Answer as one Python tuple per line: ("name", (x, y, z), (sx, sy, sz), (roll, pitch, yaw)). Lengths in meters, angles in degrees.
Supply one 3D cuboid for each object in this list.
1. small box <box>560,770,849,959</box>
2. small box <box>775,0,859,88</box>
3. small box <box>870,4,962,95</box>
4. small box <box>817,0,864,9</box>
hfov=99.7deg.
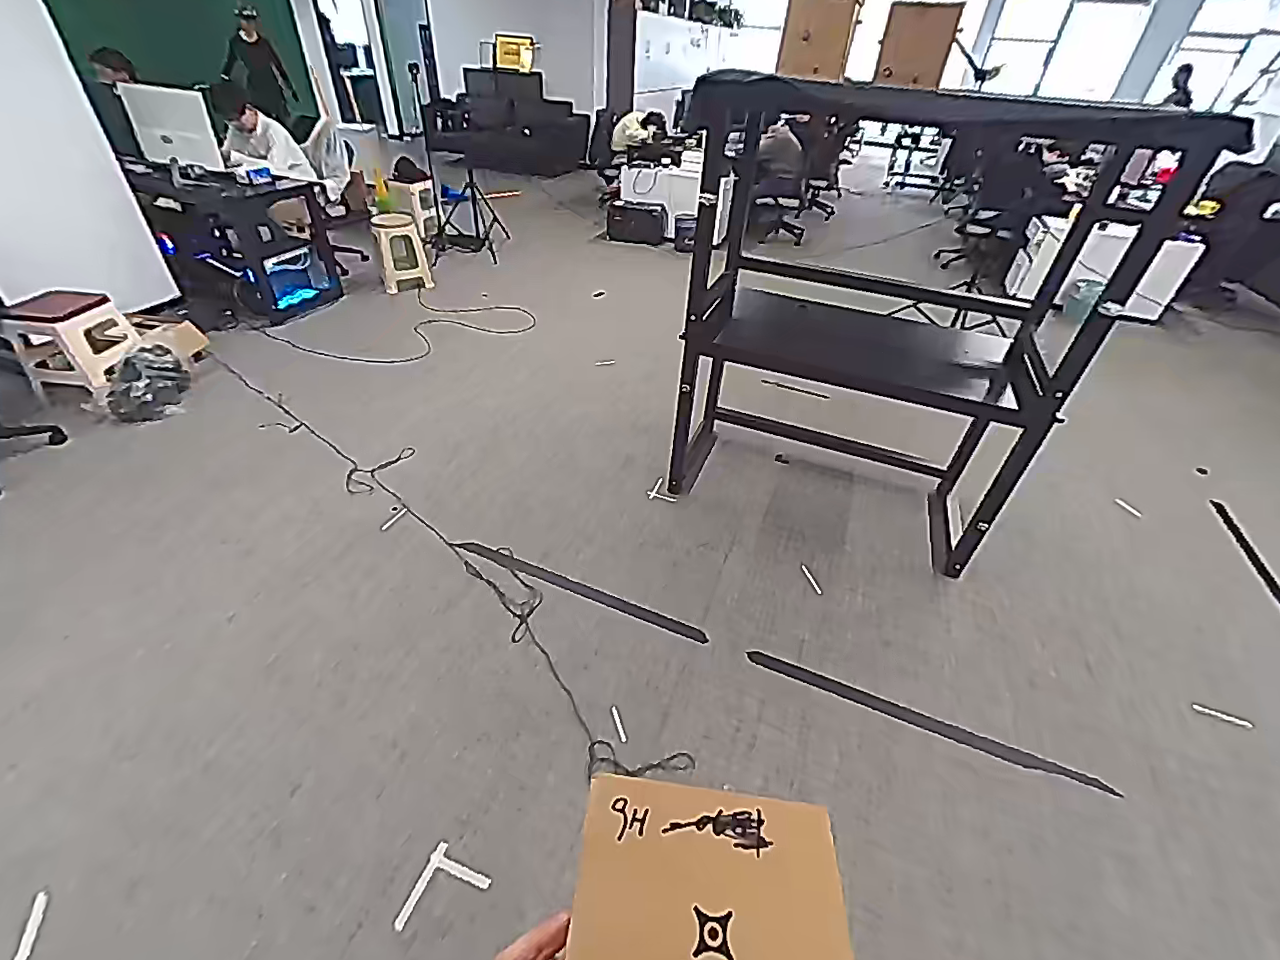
("small box", (0.030, 0.326, 0.357), (0.168, 0.176, 0.179), (9, 41, -1))
("small box", (0.460, -1.135, 1.415), (0.168, 0.176, 0.179), (17, 38, 14))
("small box", (0.694, -1.084, 1.370), (0.168, 0.176, 0.179), (17, 38, 16))
("small box", (0.476, -1.264, 1.317), (0.168, 0.176, 0.179), (17, 39, 17))
